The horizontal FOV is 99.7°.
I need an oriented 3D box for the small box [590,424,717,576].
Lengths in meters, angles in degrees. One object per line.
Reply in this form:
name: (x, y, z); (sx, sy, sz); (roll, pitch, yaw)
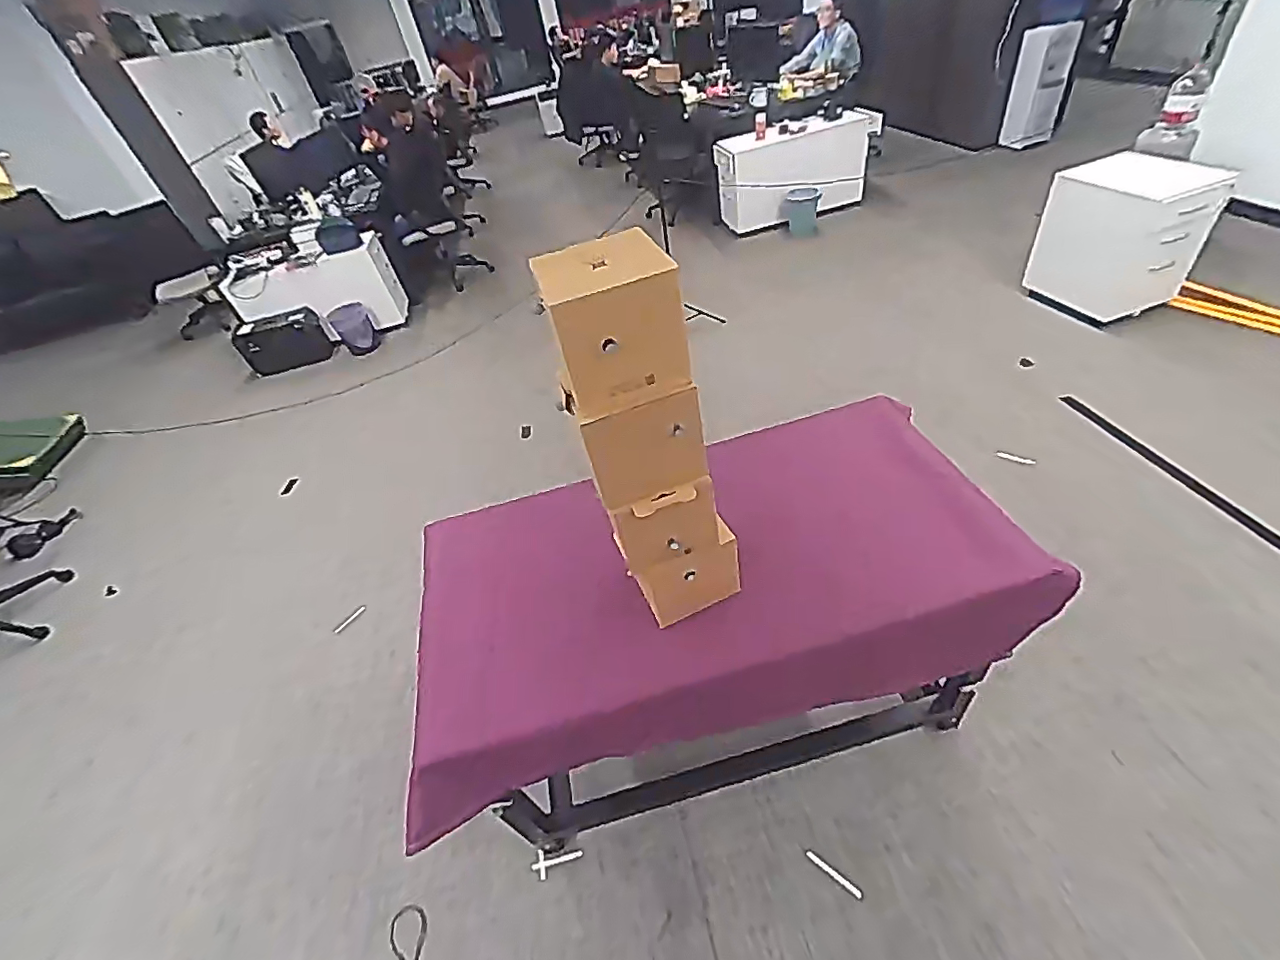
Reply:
small box: (0.024, 0.035, 0.952); (0.168, 0.176, 0.179); (-20, 43, -5)

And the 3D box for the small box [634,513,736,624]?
small box: (0.075, 0.151, 1.059); (0.179, 0.176, 0.168); (-22, 43, -10)

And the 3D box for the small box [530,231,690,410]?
small box: (-0.039, -0.216, 0.752); (0.168, 0.176, 0.179); (-19, 42, -5)
